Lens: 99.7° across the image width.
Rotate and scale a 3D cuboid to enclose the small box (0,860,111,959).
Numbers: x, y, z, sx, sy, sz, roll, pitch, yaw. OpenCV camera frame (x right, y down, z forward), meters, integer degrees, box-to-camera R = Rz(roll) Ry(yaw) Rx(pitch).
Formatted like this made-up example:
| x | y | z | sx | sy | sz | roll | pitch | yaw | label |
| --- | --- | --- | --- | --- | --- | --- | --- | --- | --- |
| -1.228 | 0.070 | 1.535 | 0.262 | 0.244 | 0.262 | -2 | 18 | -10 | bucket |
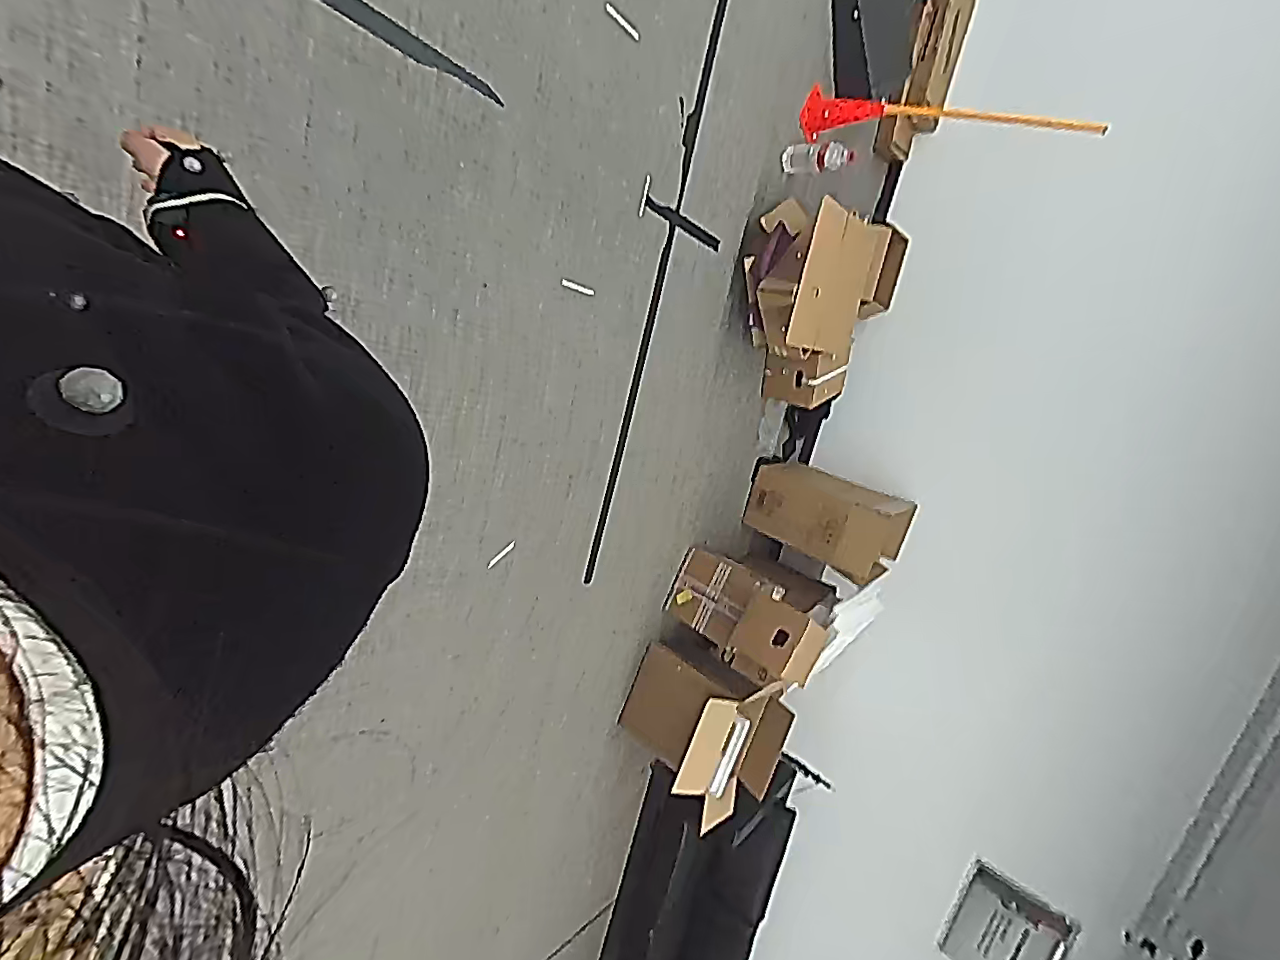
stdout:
| x | y | z | sx | sy | sz | roll | pitch | yaw | label |
| --- | --- | --- | --- | --- | --- | --- | --- | --- | --- |
| -0.831 | 0.646 | 0.707 | 0.168 | 0.176 | 0.179 | 6 | 104 | -52 | small box |
